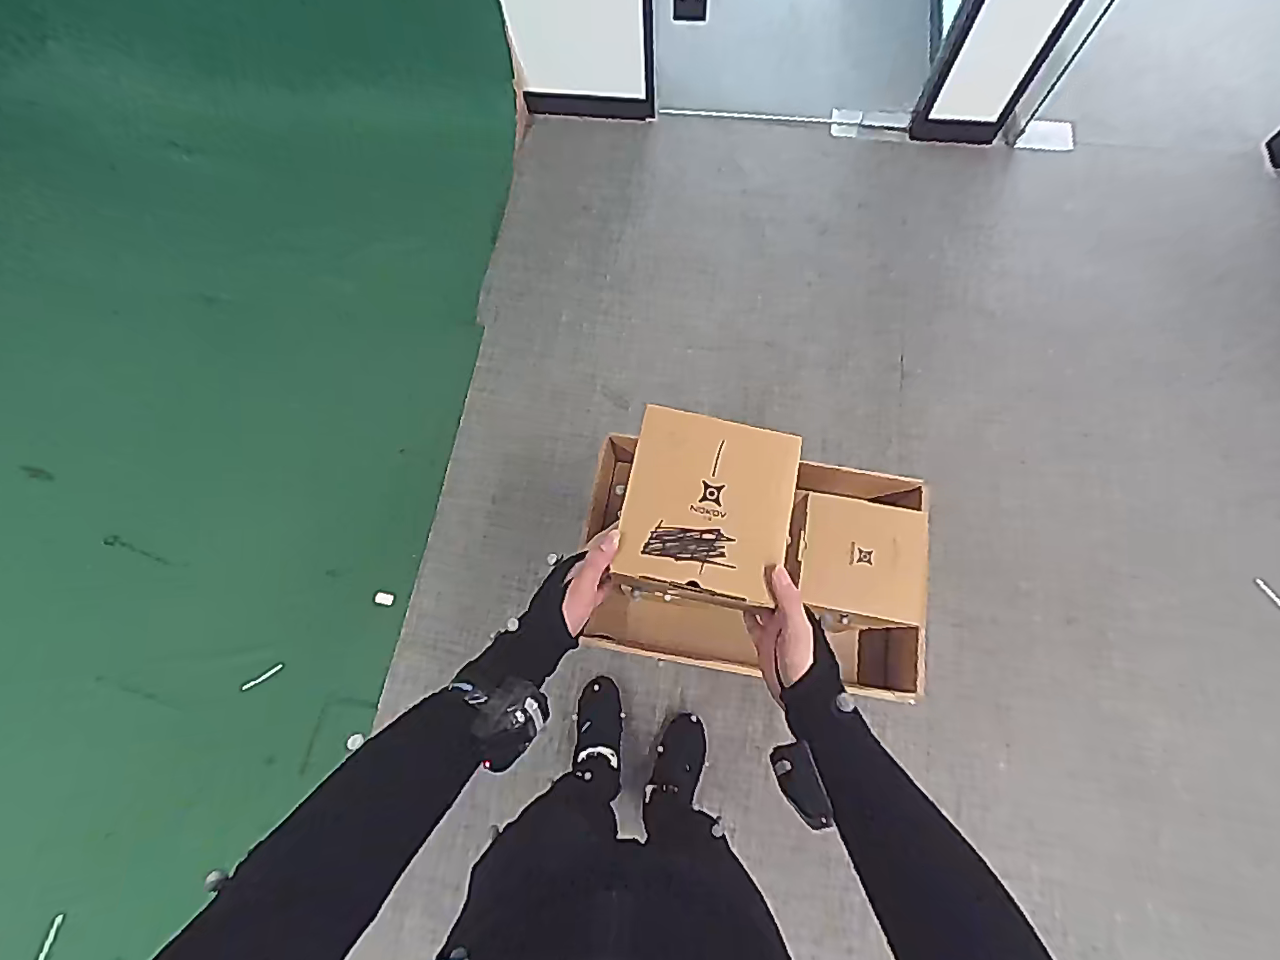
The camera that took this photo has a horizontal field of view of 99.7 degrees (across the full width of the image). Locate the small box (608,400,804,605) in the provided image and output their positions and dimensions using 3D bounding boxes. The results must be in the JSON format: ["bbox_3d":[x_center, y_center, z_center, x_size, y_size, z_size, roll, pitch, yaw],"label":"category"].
[{"bbox_3d":[0.065,0.037,0.607,0.168,0.176,0.179,14,75,0],"label":"small box"}]

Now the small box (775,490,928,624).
[{"bbox_3d":[0.319,0.128,0.847,0.179,0.176,0.168,11,75,4],"label":"small box"}]
